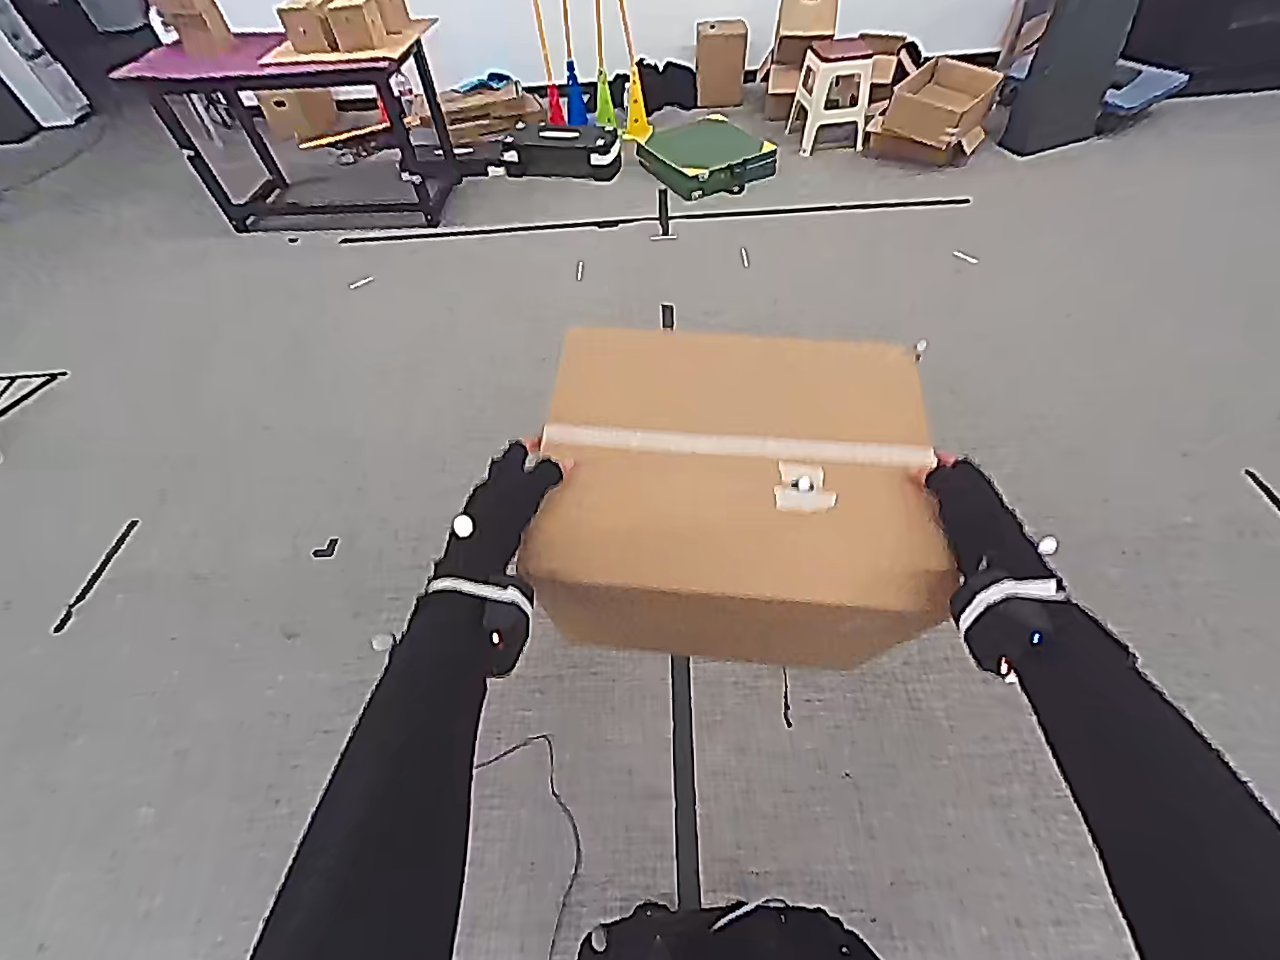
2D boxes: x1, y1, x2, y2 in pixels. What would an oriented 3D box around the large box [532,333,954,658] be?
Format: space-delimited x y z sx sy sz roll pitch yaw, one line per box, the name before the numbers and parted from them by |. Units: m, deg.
large box | 0.105 0.037 0.704 0.408 0.320 0.320 4 64 4
